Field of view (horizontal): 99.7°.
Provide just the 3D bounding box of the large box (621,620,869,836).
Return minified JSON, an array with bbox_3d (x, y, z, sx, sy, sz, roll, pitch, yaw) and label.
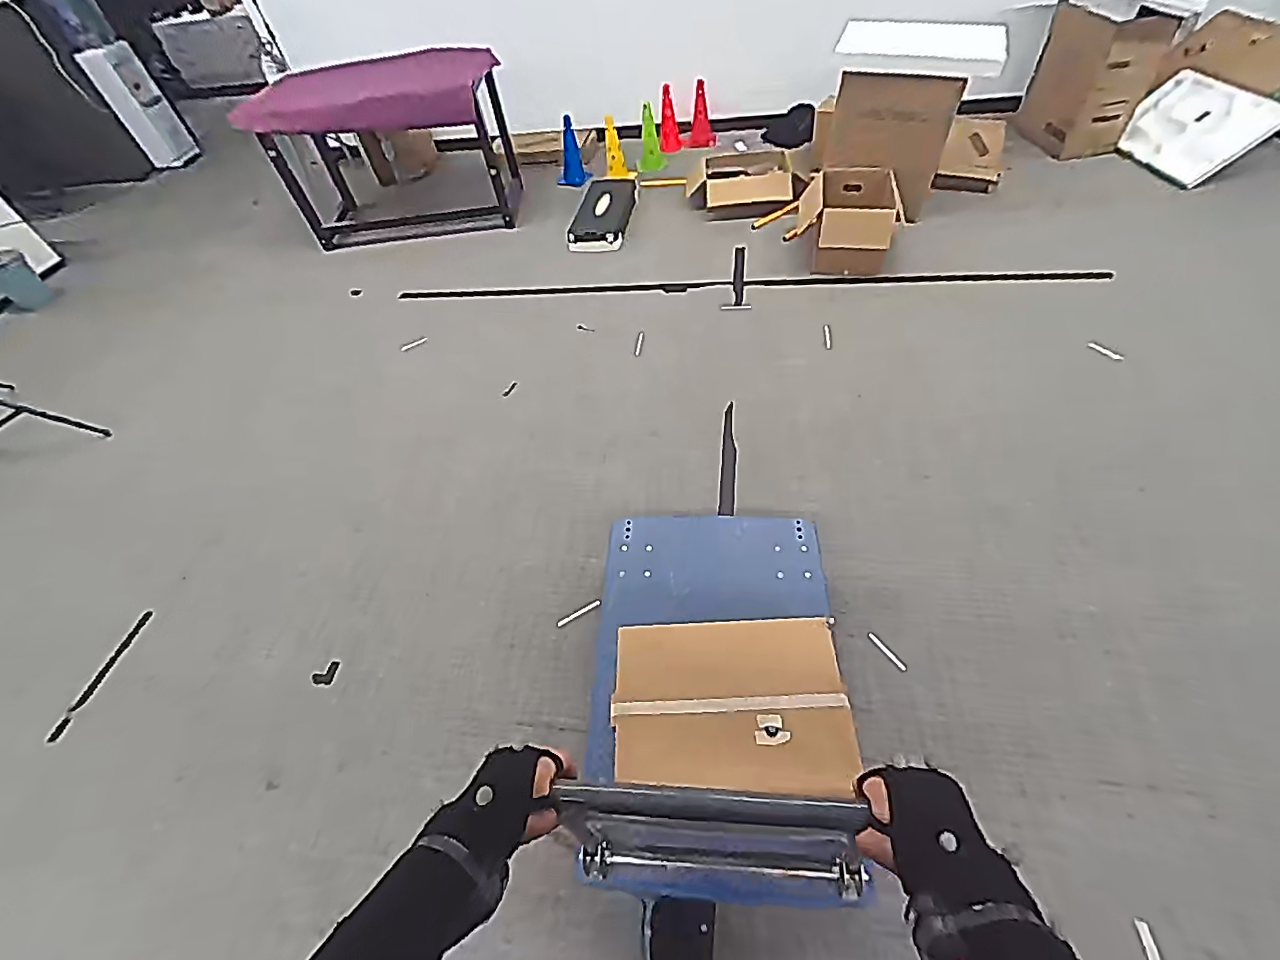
[{"bbox_3d":[0.177,0.497,1.071,0.408,0.320,0.320,-4,51,4],"label":"large box"}]
